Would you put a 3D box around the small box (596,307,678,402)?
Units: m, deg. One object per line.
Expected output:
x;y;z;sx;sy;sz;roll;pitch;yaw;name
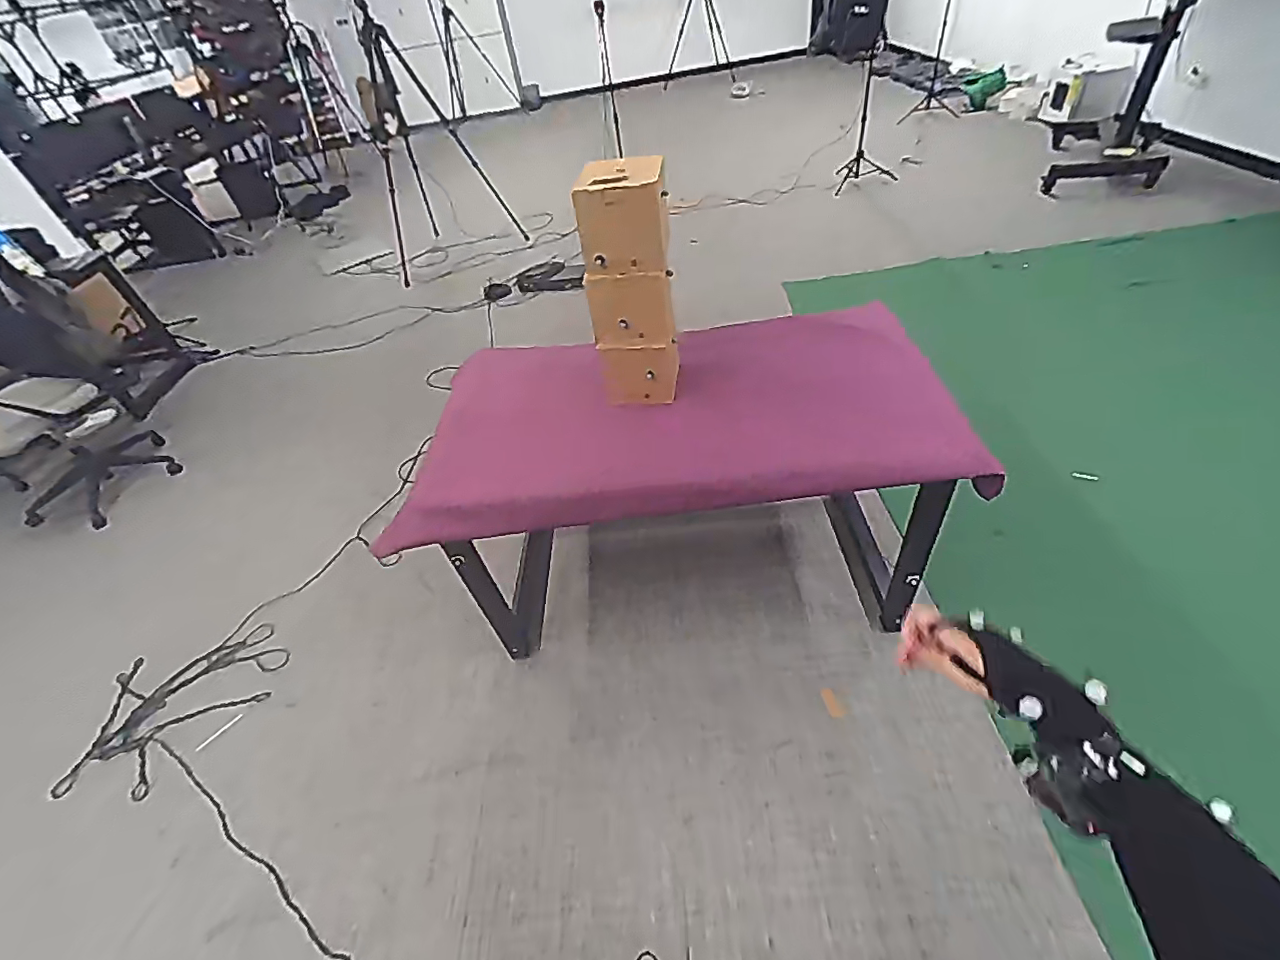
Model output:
0.001;-0.305;1.332;0.168;0.176;0.179;1;45;11;small box

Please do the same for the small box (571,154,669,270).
-0.032;-0.547;1.115;0.168;0.176;0.179;0;45;9;small box

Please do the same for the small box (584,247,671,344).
-0.020;-0.426;1.226;0.168;0.176;0.179;-1;46;8;small box
